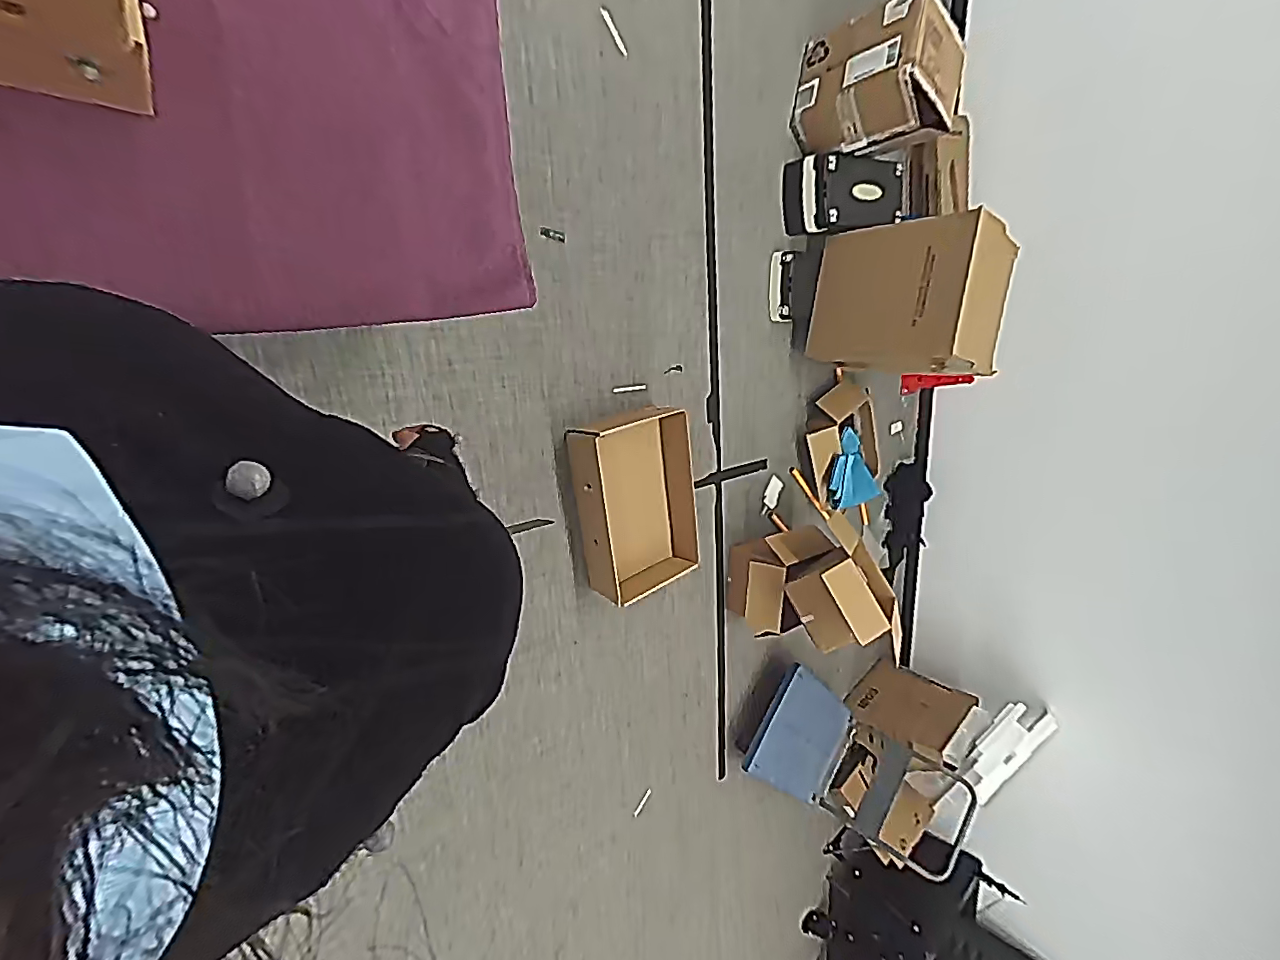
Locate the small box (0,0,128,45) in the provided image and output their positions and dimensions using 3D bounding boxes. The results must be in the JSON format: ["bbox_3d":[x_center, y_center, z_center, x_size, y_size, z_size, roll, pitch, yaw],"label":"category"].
[{"bbox_3d":[-0.411,-0.396,0.296,0.168,0.176,0.179,-12,108,-39],"label":"small box"}]
